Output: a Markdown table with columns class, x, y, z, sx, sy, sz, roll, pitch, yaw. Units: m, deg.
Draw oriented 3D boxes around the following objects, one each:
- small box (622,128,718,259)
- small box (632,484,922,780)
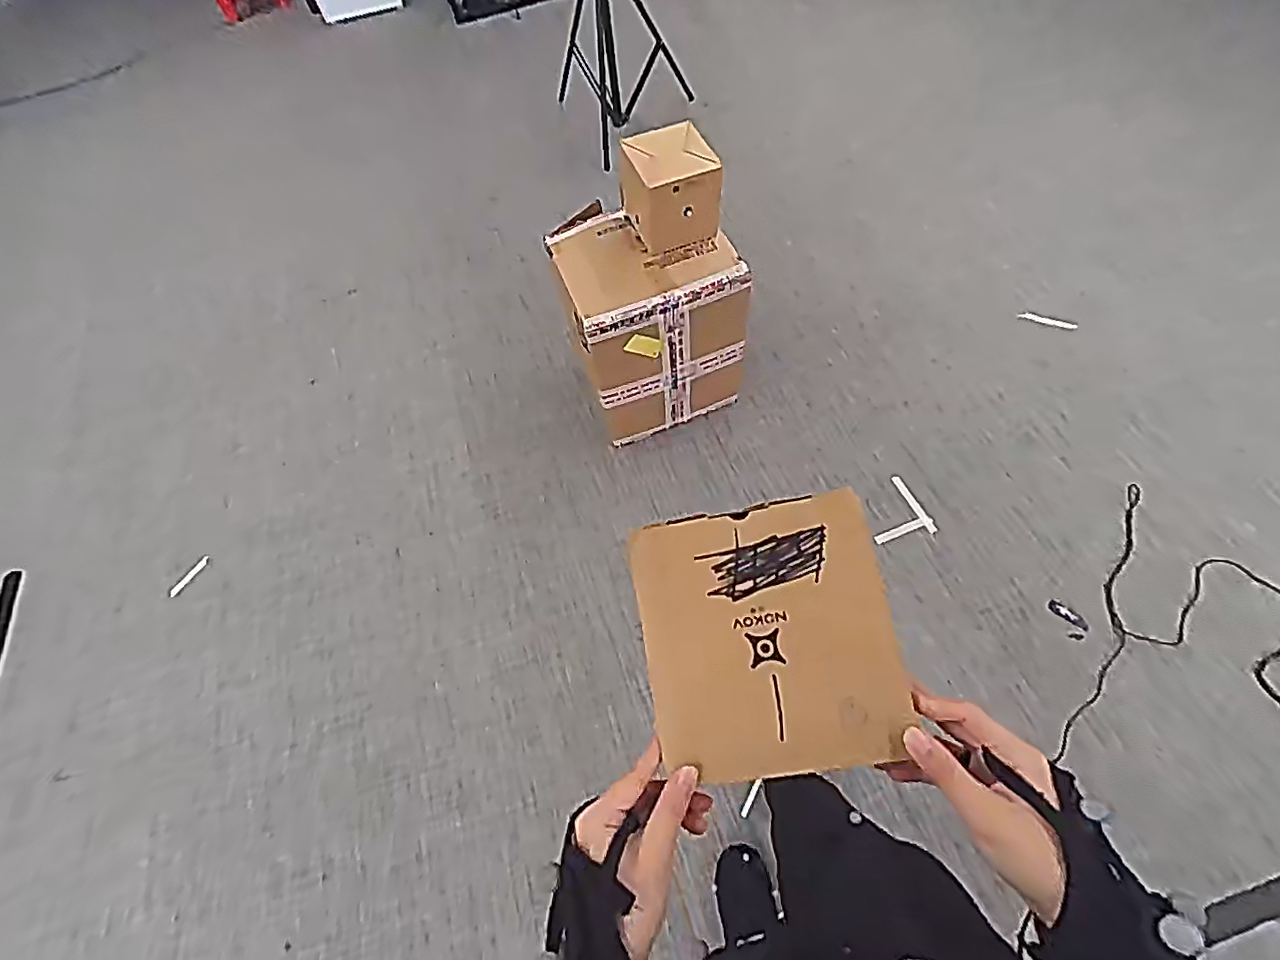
| class | x | y | z | sx | sy | sz | roll | pitch | yaw |
| --- | --- | --- | --- | --- | --- | --- | --- | --- | --- |
| small box | 0.064 | -0.634 | 1.196 | 0.168 | 0.176 | 0.179 | -20 | 64 | -8 |
| small box | 0.096 | 0.117 | 0.442 | 0.168 | 0.176 | 0.179 | -11 | 77 | 7 |
